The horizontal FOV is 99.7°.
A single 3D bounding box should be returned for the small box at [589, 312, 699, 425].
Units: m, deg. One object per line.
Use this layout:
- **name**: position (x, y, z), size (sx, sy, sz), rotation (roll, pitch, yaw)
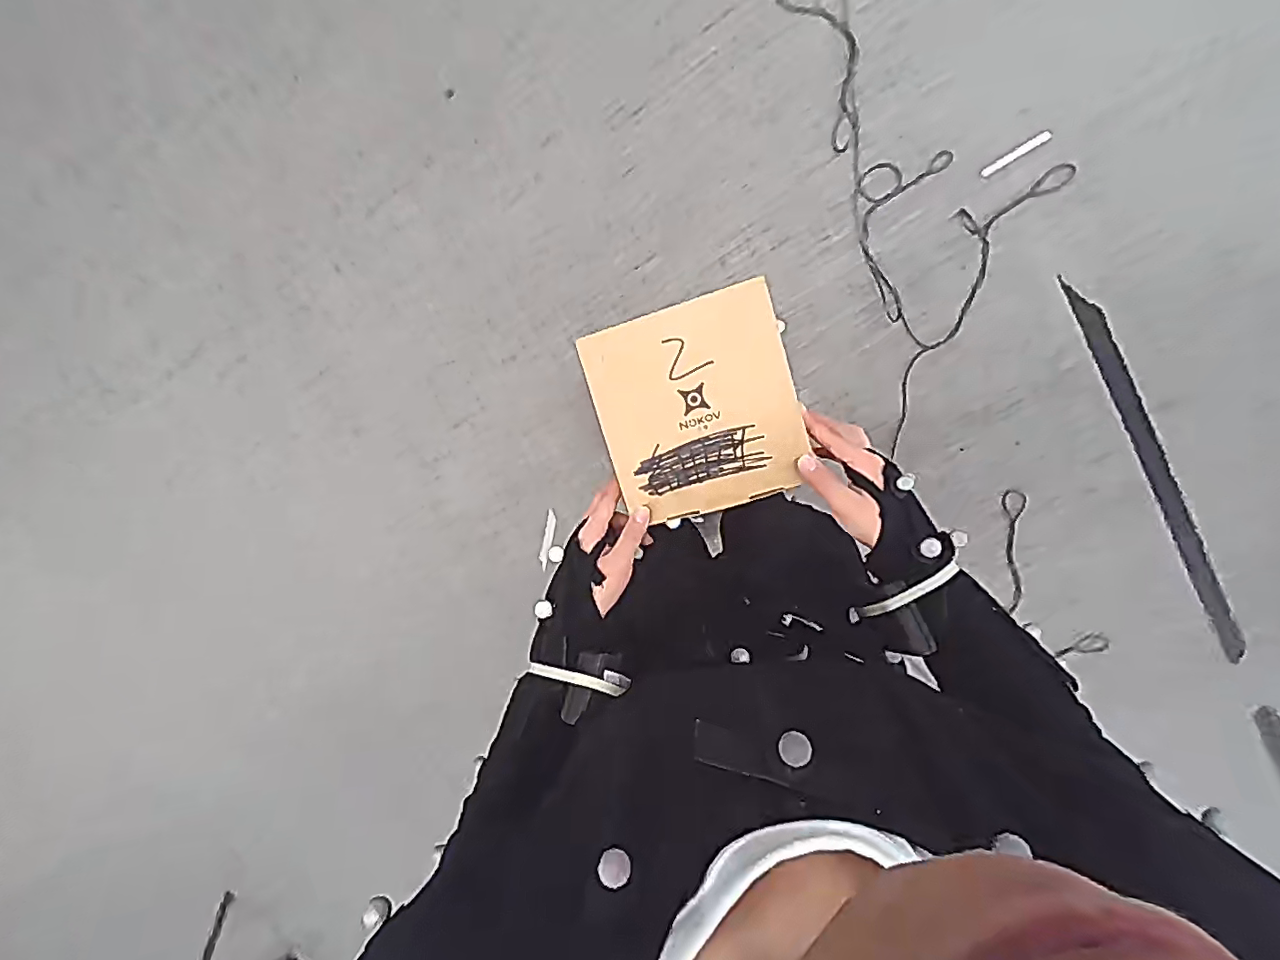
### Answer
- **small box**: position (0.013, -0.244, 1.191), size (0.168, 0.176, 0.179), rotation (-36, 98, 13)
